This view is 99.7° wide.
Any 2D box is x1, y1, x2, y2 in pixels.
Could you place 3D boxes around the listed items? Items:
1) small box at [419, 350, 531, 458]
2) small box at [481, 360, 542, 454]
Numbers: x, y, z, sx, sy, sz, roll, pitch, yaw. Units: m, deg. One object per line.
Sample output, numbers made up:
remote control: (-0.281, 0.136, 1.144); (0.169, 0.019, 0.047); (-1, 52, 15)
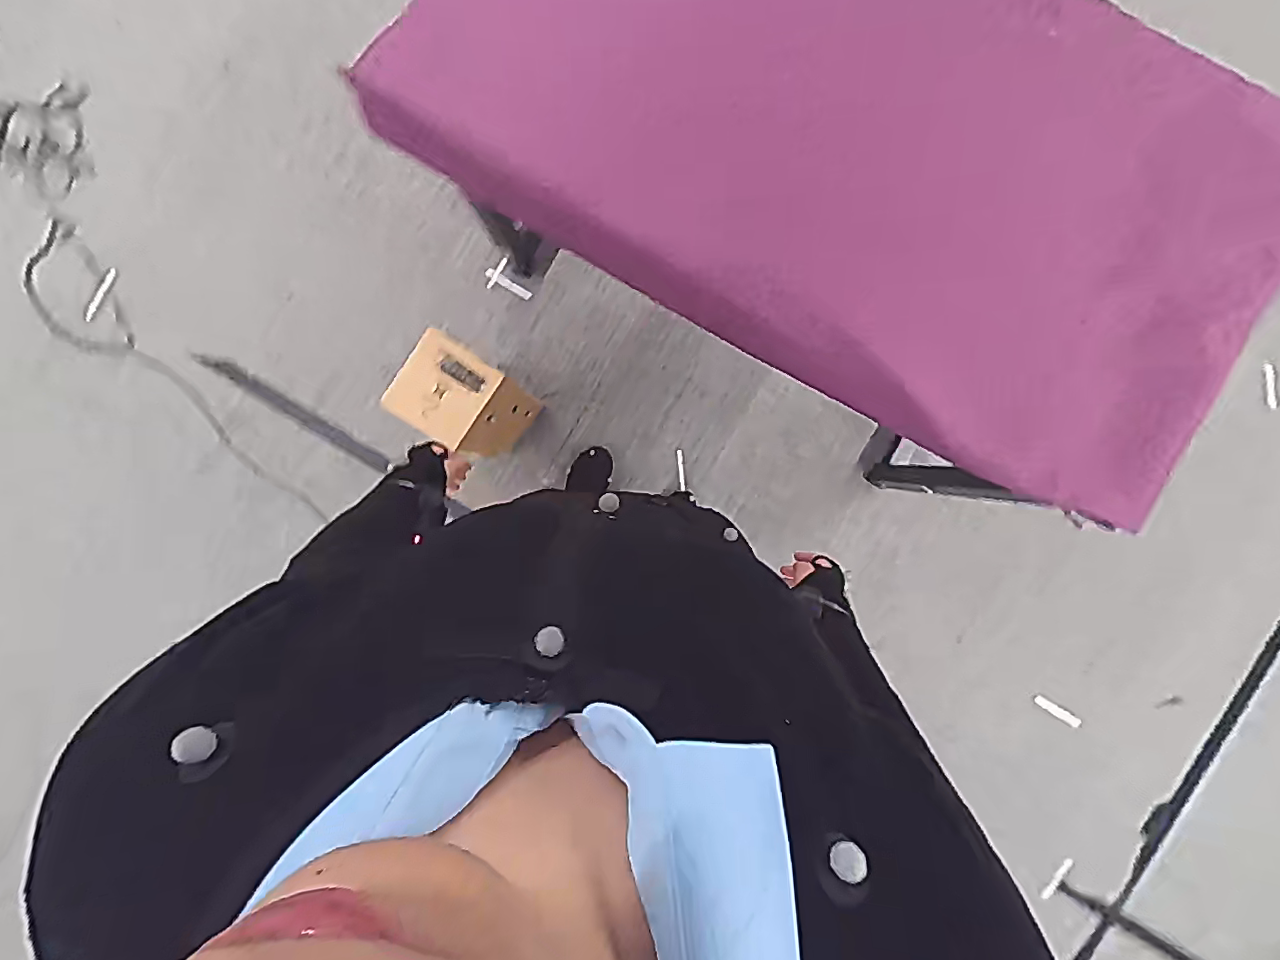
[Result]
small box: (-0.365, -0.166, 1.236); (0.168, 0.176, 0.179); (32, 91, -2)
small box: (-0.373, -0.180, 1.400); (0.168, 0.176, 0.179); (38, 91, -2)
